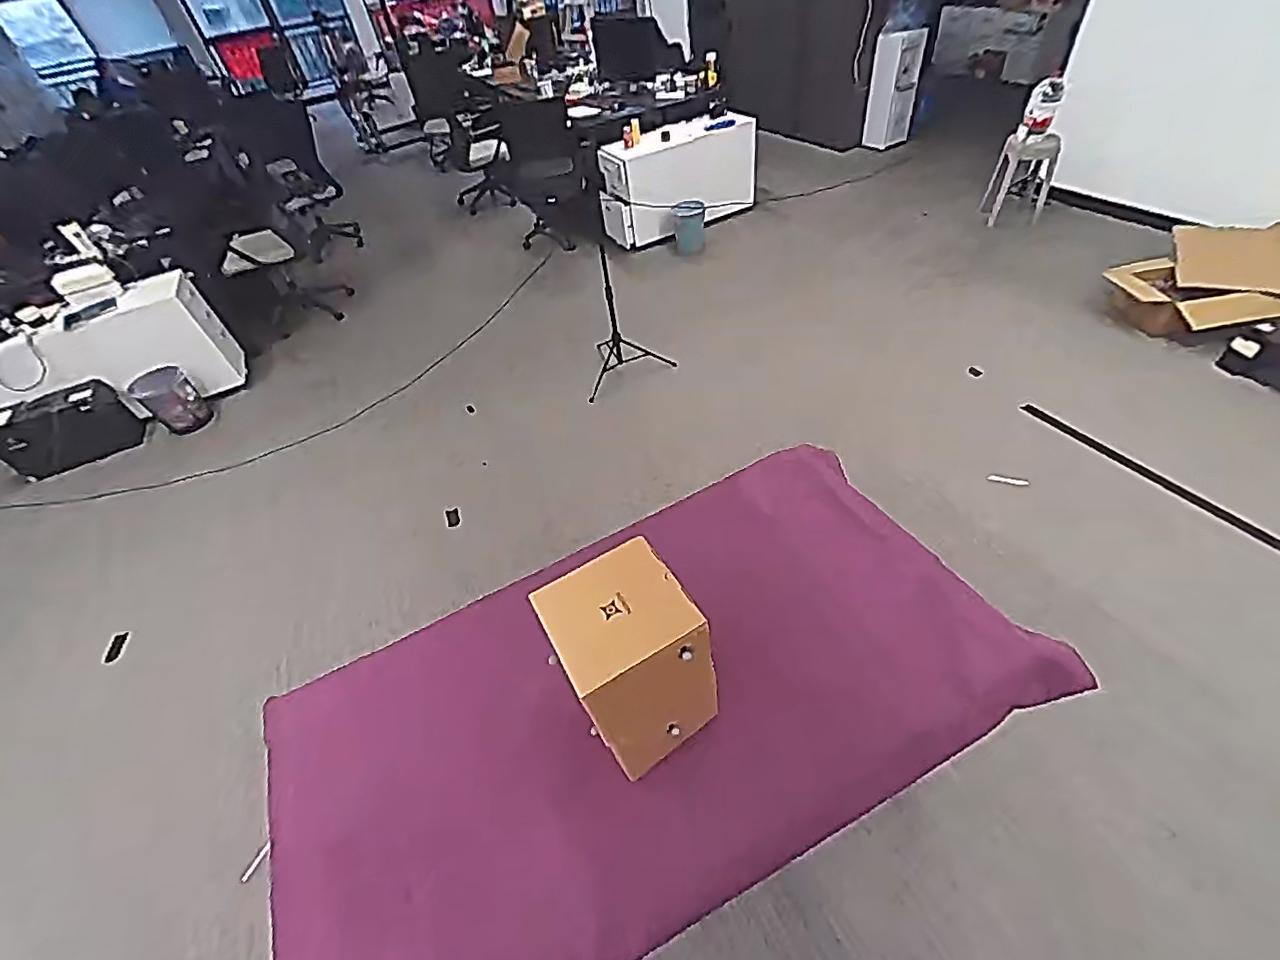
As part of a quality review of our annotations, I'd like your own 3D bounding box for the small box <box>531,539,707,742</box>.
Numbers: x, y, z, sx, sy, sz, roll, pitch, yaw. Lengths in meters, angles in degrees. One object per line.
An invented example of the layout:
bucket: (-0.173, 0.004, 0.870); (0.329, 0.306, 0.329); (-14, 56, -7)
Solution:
small box: (-0.022, 0.221, 0.739); (0.179, 0.176, 0.168); (-26, 47, -16)
